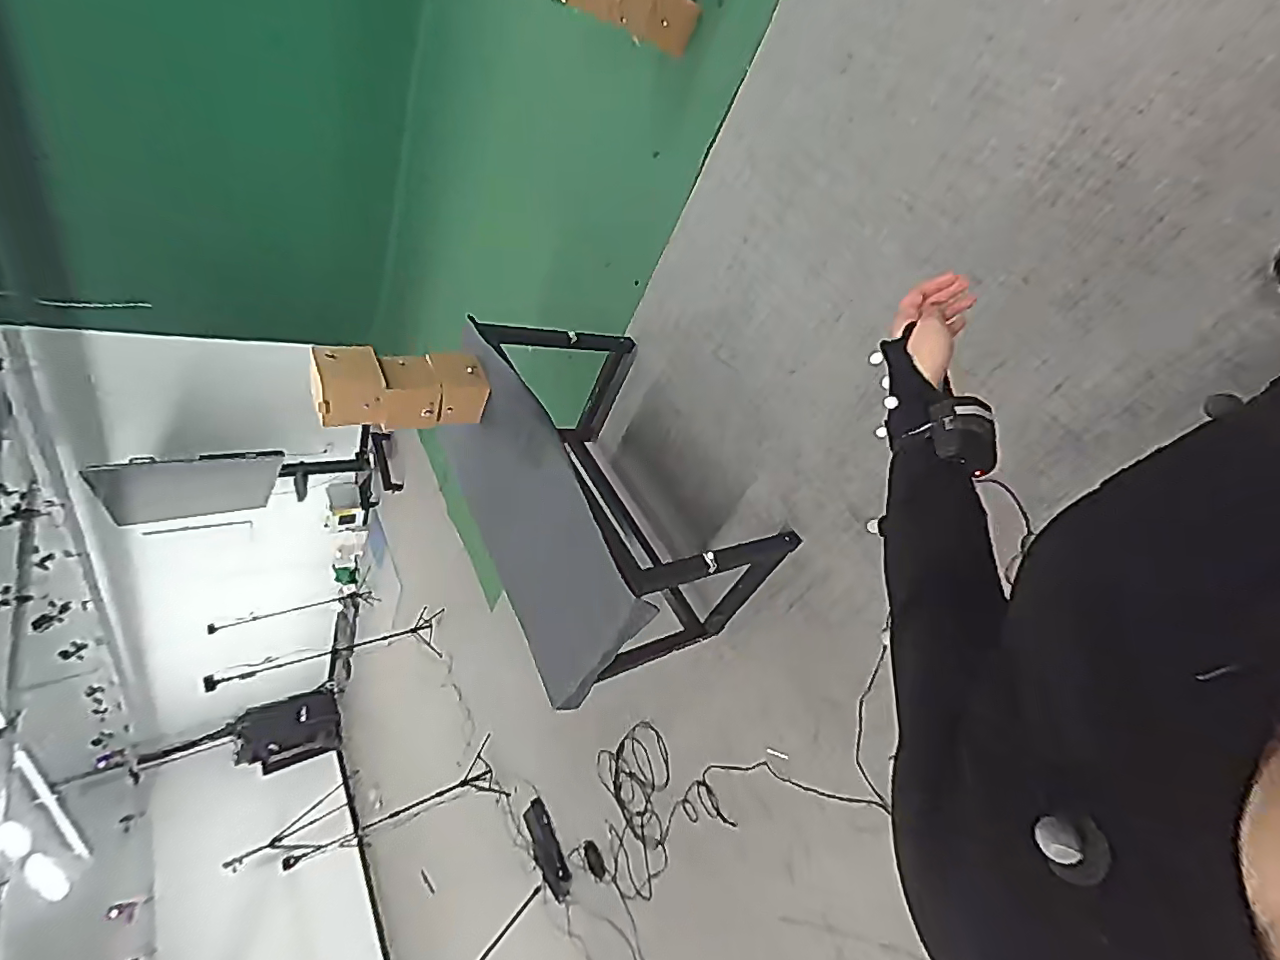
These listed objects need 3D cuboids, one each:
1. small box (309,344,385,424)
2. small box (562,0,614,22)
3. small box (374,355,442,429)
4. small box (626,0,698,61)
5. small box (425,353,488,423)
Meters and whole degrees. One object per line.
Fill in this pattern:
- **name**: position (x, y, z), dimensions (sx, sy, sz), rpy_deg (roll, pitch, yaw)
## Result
- **small box**: position (-0.880, -0.286, 1.621), dimensions (0.179, 0.176, 0.168), rpy_deg (57, 137, 27)
- **small box**: position (-0.172, -1.629, 1.740), dimensions (0.168, 0.176, 0.179), rpy_deg (58, 135, 28)
- **small box**: position (-0.754, -0.281, 1.730), dimensions (0.179, 0.176, 0.168), rpy_deg (52, 135, 30)
- **small box**: position (0.085, -1.665, 1.942), dimensions (0.168, 0.176, 0.179), rpy_deg (58, 134, 27)
- **small box**: position (-0.633, -0.308, 1.835), dimensions (0.168, 0.176, 0.179), rpy_deg (59, 136, 25)
